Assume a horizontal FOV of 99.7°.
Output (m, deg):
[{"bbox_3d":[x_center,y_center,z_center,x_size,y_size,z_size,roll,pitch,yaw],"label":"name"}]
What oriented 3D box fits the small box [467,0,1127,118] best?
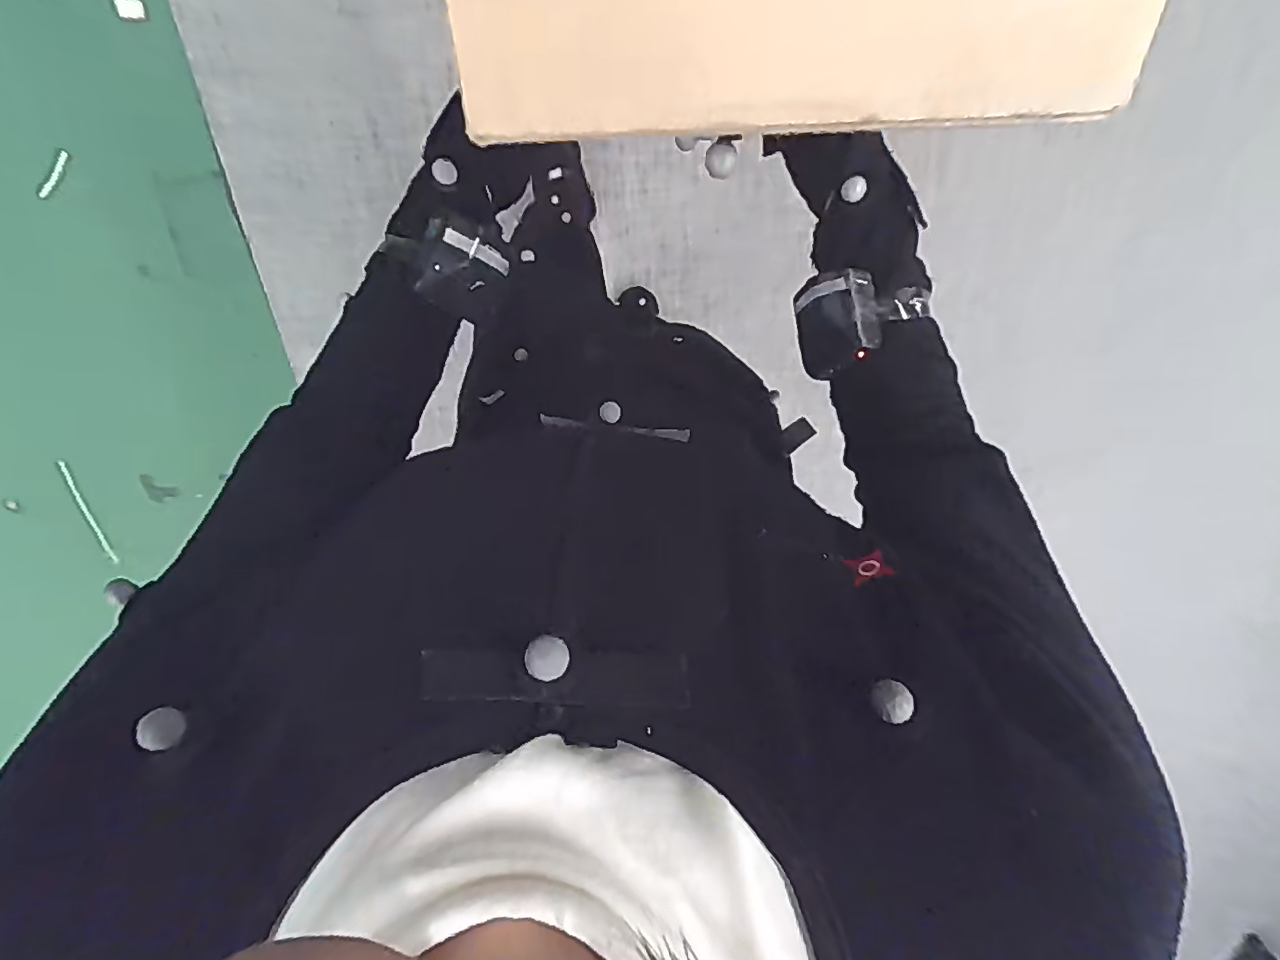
[{"bbox_3d":[0.037,-0.218,0.173,0.179,0.176,0.168,-3,123,0],"label":"small box"}]
